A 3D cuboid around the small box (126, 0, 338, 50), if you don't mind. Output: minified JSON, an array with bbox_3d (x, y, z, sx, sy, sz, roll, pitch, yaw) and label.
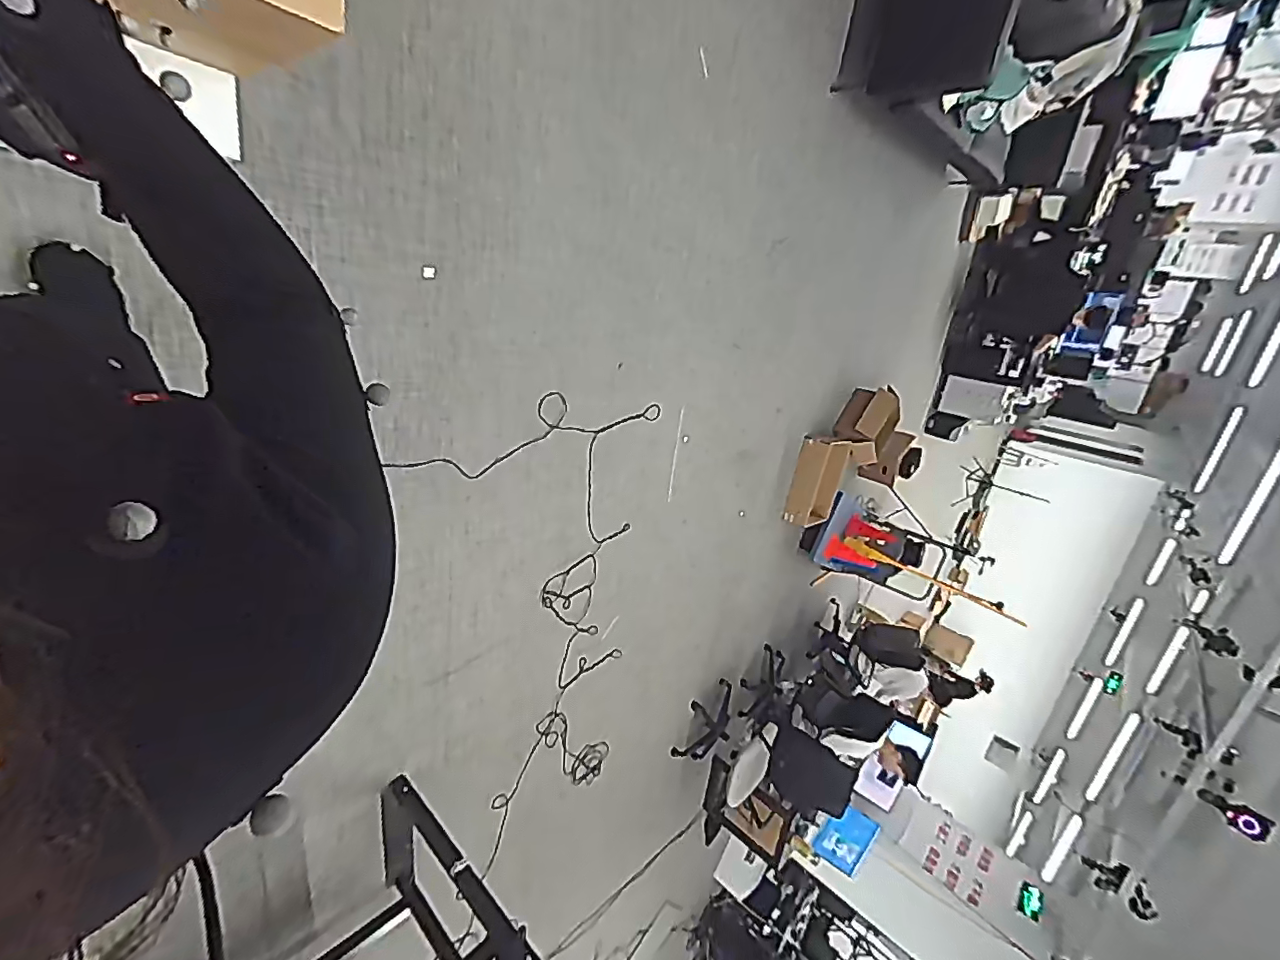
[{"bbox_3d":[-0.362,-0.476,0.424,0.179,0.176,0.168,-11,117,-47],"label":"small box"}]
